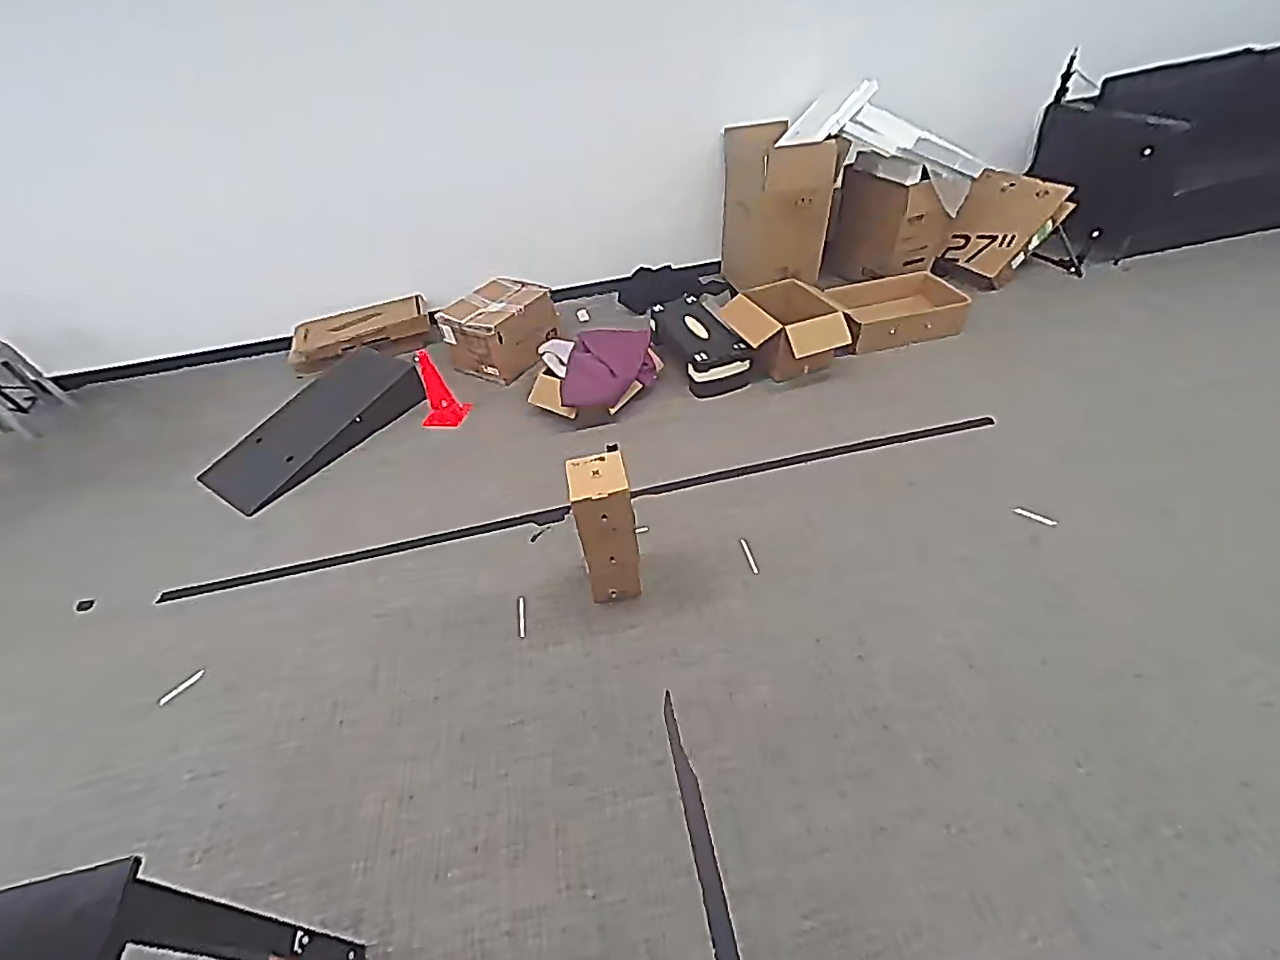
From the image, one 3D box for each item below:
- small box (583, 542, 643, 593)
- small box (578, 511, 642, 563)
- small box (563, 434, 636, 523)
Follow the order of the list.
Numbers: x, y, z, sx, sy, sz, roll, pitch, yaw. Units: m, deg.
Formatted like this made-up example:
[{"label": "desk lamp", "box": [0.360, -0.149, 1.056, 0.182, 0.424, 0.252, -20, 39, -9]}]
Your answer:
[{"label": "small box", "box": [-0.090, 0.234, 1.737, 0.168, 0.176, 0.179, -12, 45, -4]}, {"label": "small box", "box": [-0.095, 0.119, 1.618, 0.168, 0.176, 0.179, -12, 43, -4]}, {"label": "small box", "box": [-0.111, 0.002, 1.504, 0.168, 0.176, 0.179, -11, 44, -4]}]
